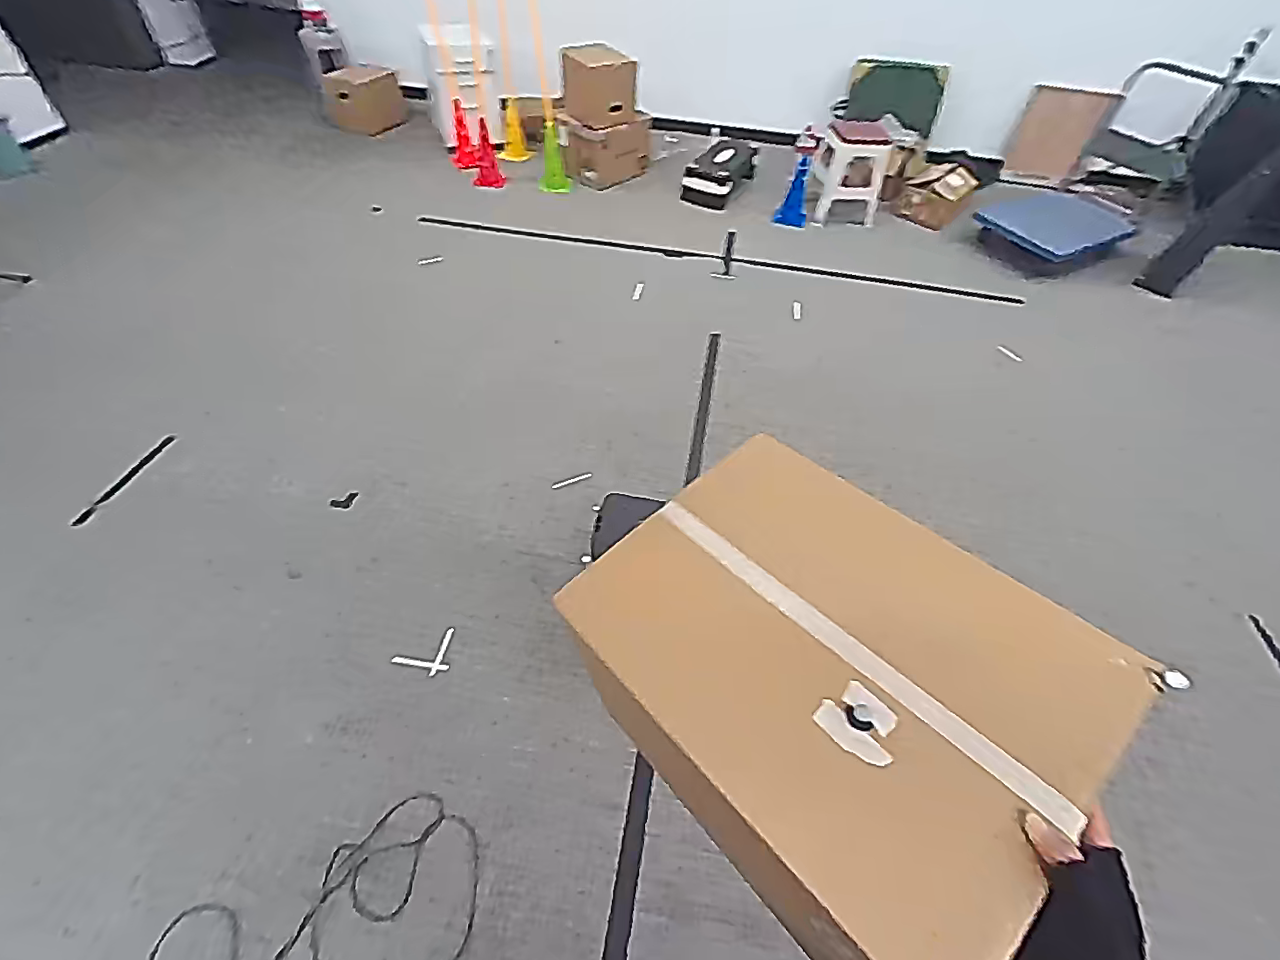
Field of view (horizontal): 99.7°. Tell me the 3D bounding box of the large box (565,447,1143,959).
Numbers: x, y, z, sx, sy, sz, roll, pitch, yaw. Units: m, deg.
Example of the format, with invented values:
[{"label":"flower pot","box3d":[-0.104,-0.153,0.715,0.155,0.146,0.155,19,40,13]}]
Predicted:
[{"label":"large box","box3d":[0.182,0.237,0.597,0.320,0.320,0.408,-38,53,-21]}]
